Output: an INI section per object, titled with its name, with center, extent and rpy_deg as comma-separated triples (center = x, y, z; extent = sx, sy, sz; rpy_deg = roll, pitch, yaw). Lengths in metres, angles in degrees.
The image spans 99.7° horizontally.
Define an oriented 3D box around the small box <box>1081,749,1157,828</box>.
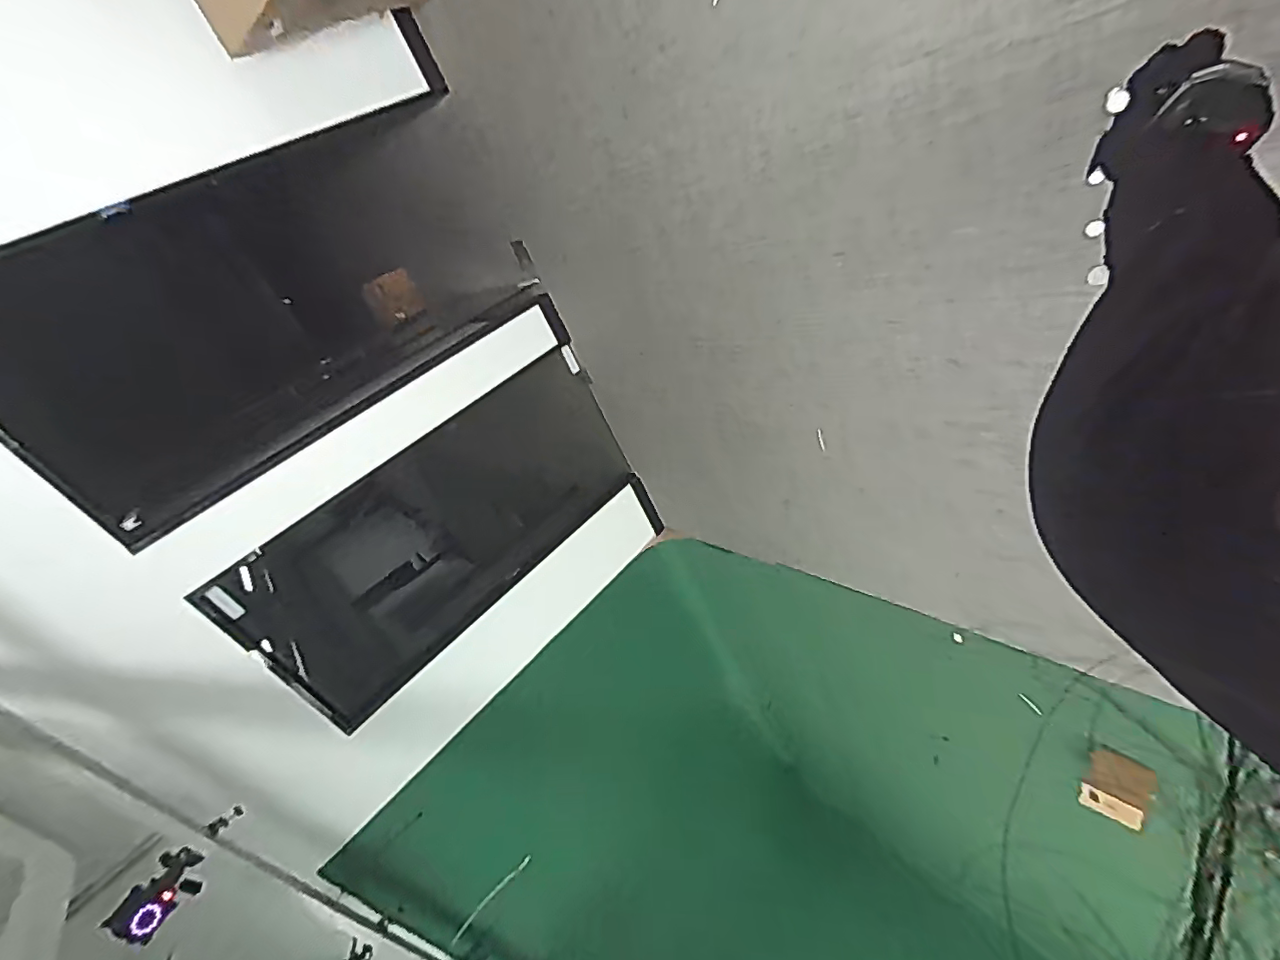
[small box]
center = 1.807, 1.153, 2.043
extent = 0.179, 0.176, 0.168
rpy_deg = 17, 141, 47
